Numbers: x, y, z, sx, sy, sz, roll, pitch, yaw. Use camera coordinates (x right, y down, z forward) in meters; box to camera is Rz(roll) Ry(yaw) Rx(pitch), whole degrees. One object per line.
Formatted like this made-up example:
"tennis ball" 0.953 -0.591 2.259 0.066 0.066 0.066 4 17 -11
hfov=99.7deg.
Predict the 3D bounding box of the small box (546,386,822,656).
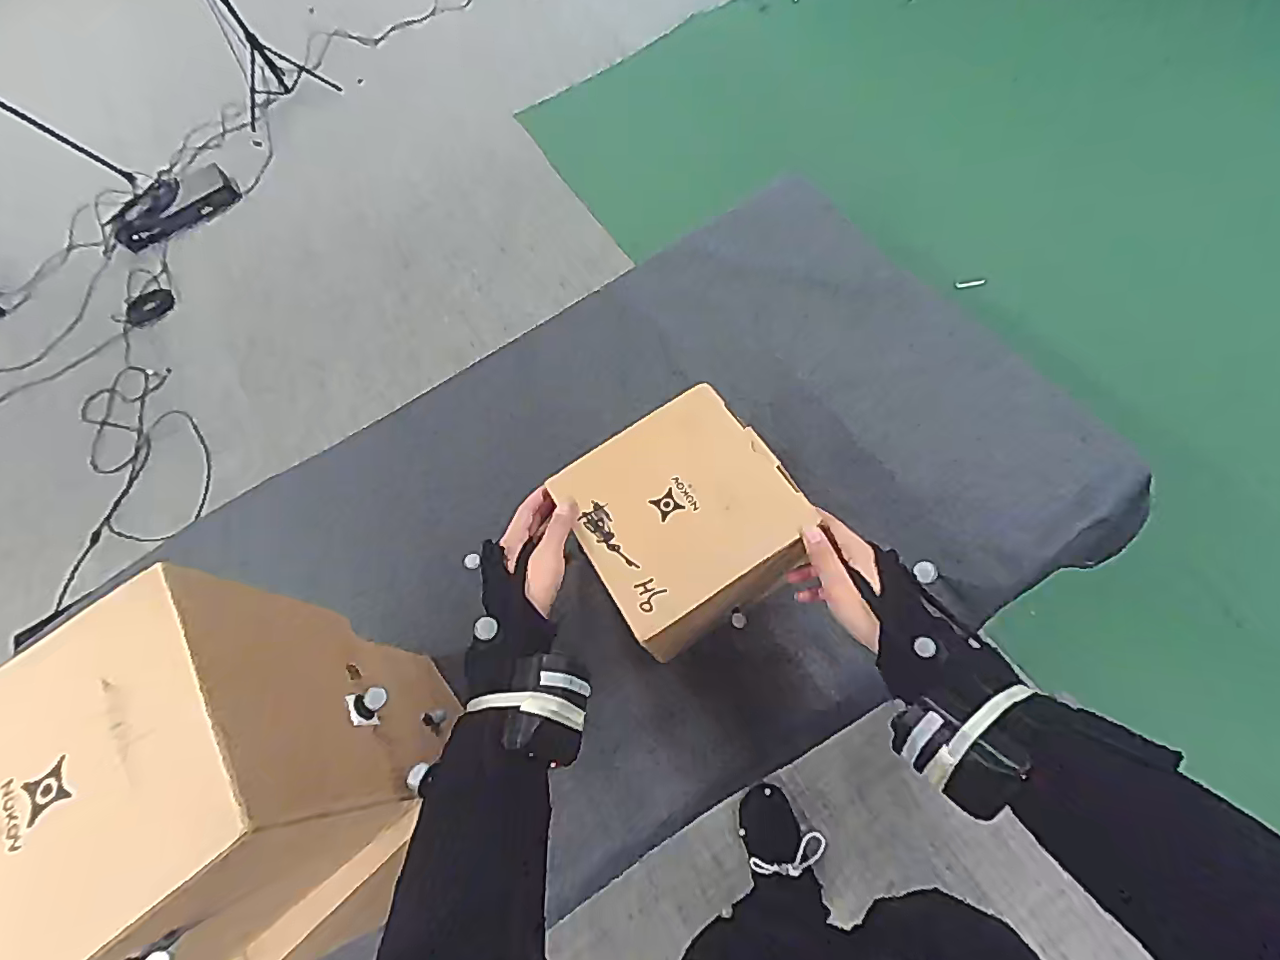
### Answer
"small box" 0.041 0.049 0.519 0.179 0.176 0.168 -33 67 -5

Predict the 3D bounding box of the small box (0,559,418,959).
"small box" -0.279 0.183 0.334 0.179 0.176 0.168 -38 66 -9

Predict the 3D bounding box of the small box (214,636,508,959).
"small box" -0.249 0.264 0.472 0.168 0.176 0.179 -42 66 -10
